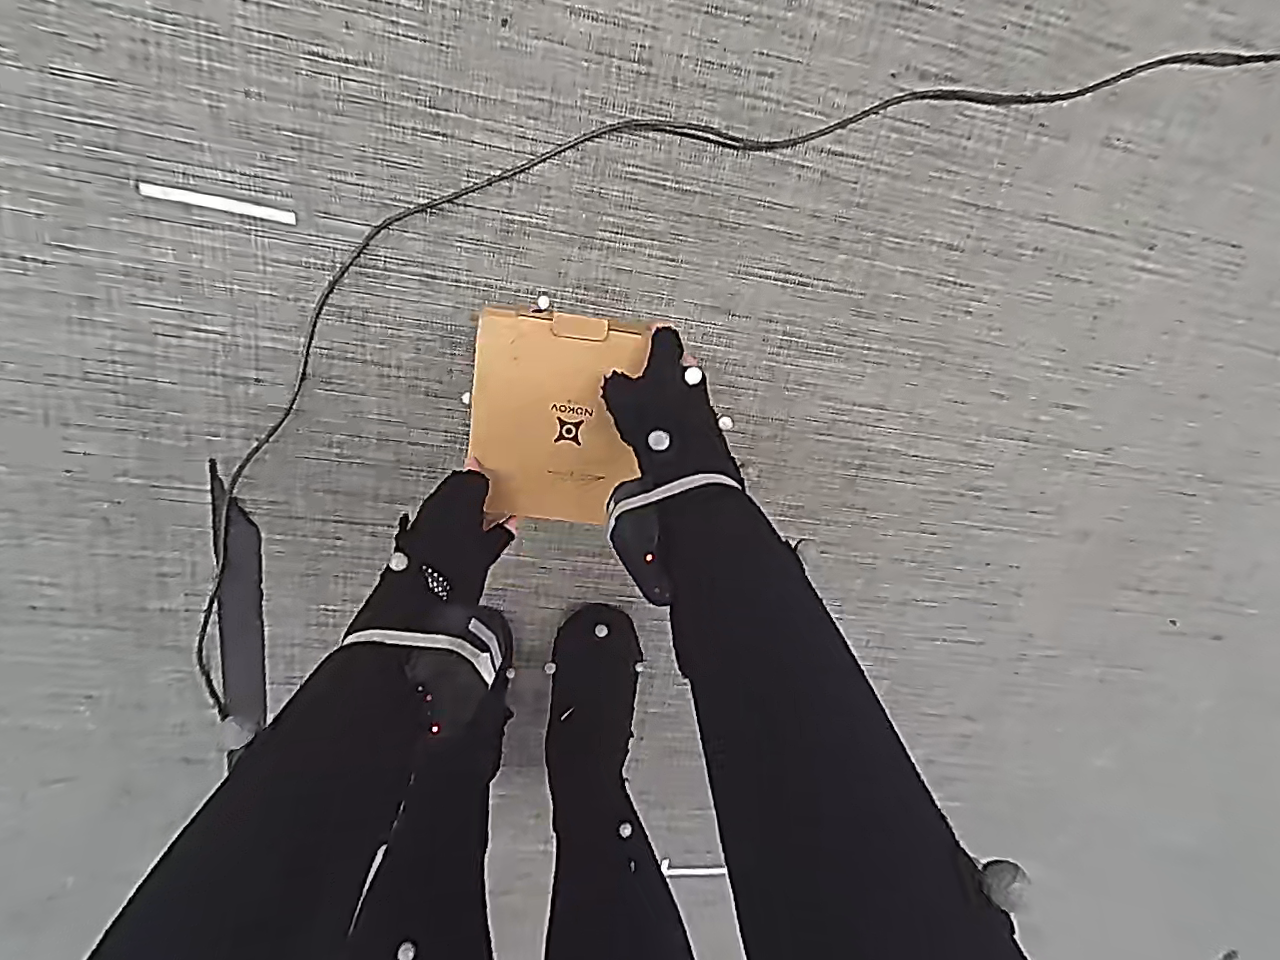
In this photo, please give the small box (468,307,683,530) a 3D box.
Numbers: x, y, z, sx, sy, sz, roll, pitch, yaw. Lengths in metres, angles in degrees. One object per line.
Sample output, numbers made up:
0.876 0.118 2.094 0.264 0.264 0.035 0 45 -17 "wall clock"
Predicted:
-0.066 -0.070 0.540 0.168 0.176 0.179 8 107 -8 "small box"
